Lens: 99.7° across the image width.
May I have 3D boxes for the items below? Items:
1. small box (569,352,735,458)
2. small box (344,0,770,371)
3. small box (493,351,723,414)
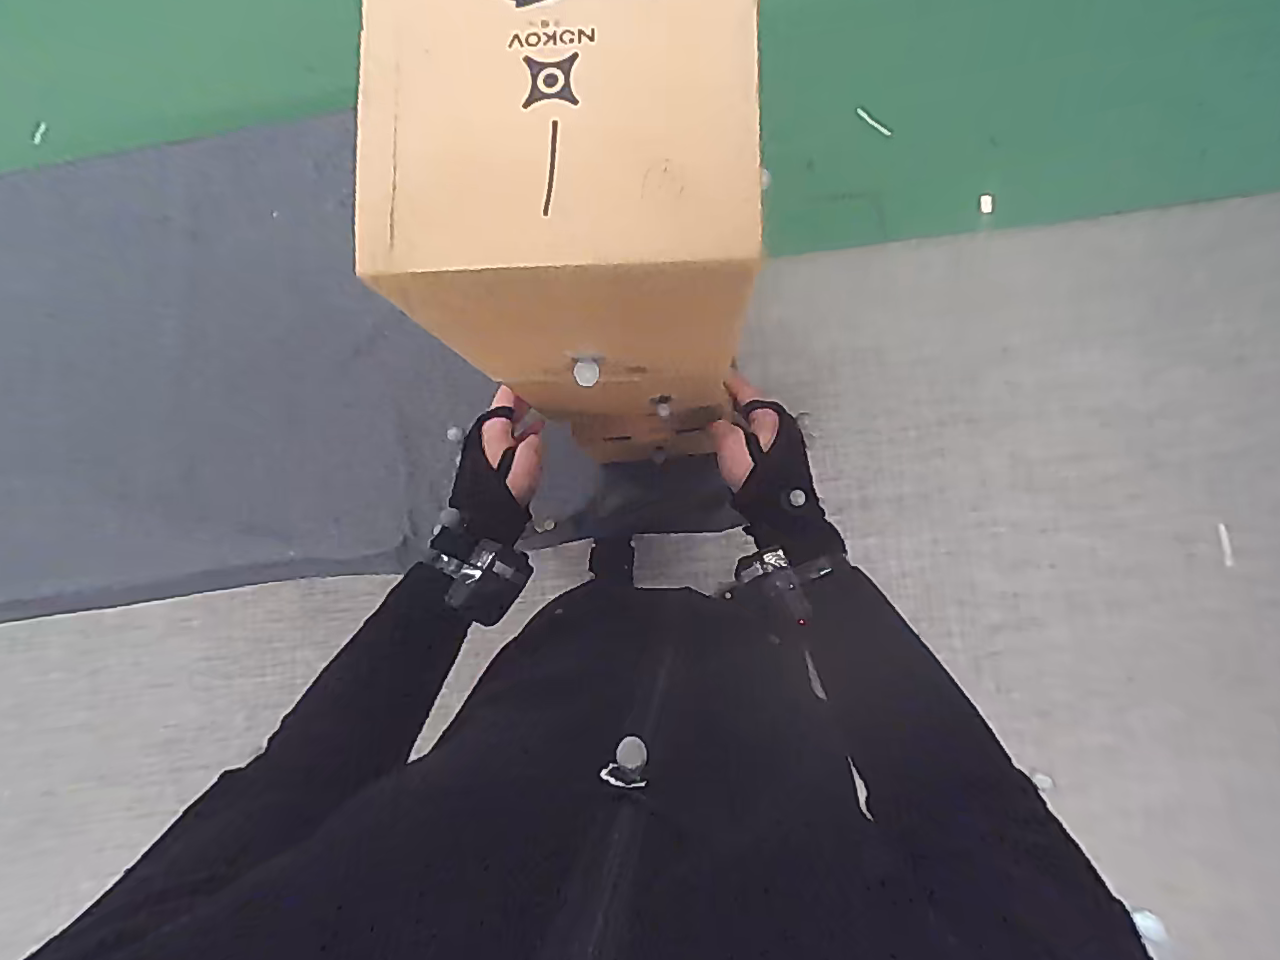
[{"bbox_3d":[0.014,-0.122,0.613,0.168,0.176,0.179,-6,84,5],"label":"small box"},{"bbox_3d":[-0.027,-0.169,0.292,0.168,0.176,0.179,0,85,5],"label":"small box"},{"bbox_3d":[-0.015,-0.155,0.455,0.168,0.176,0.179,-1,82,4],"label":"small box"}]
